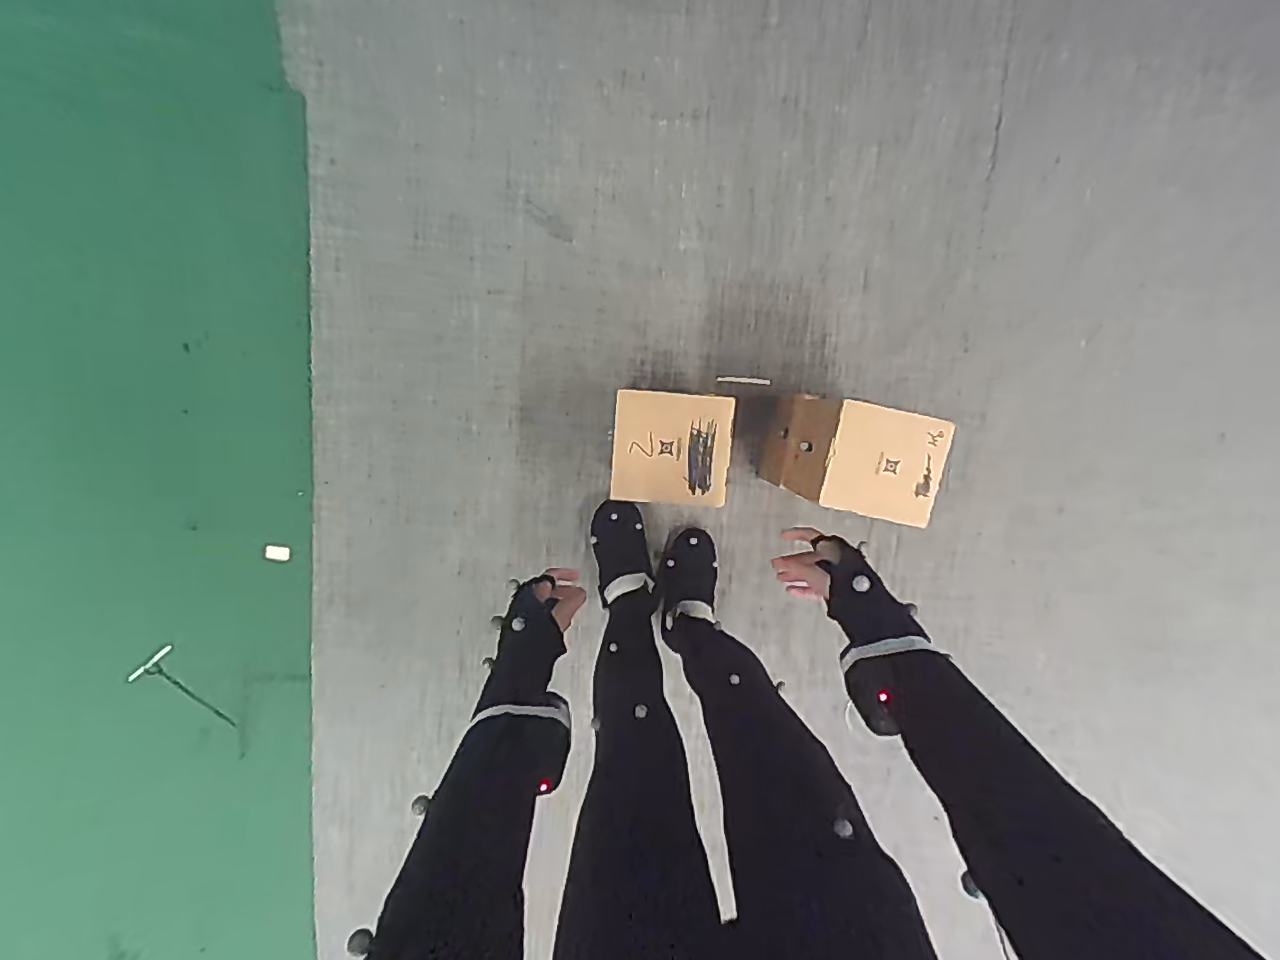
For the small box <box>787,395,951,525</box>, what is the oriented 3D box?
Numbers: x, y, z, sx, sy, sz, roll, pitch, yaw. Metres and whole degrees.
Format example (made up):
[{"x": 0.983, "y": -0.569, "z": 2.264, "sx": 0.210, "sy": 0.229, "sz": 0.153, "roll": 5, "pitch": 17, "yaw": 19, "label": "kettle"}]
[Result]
[{"x": 0.359, "y": -0.038, "z": 0.886, "sx": 0.179, "sy": 0.176, "sz": 0.168, "roll": 13, "pitch": 97, "yaw": -2, "label": "small box"}]

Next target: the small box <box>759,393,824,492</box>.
[{"x": 0.342, "y": -0.064, "z": 1.049, "sx": 0.168, "sy": 0.176, "sz": 0.179, "roll": 12, "pitch": 98, "yaw": -2, "label": "small box"}]
